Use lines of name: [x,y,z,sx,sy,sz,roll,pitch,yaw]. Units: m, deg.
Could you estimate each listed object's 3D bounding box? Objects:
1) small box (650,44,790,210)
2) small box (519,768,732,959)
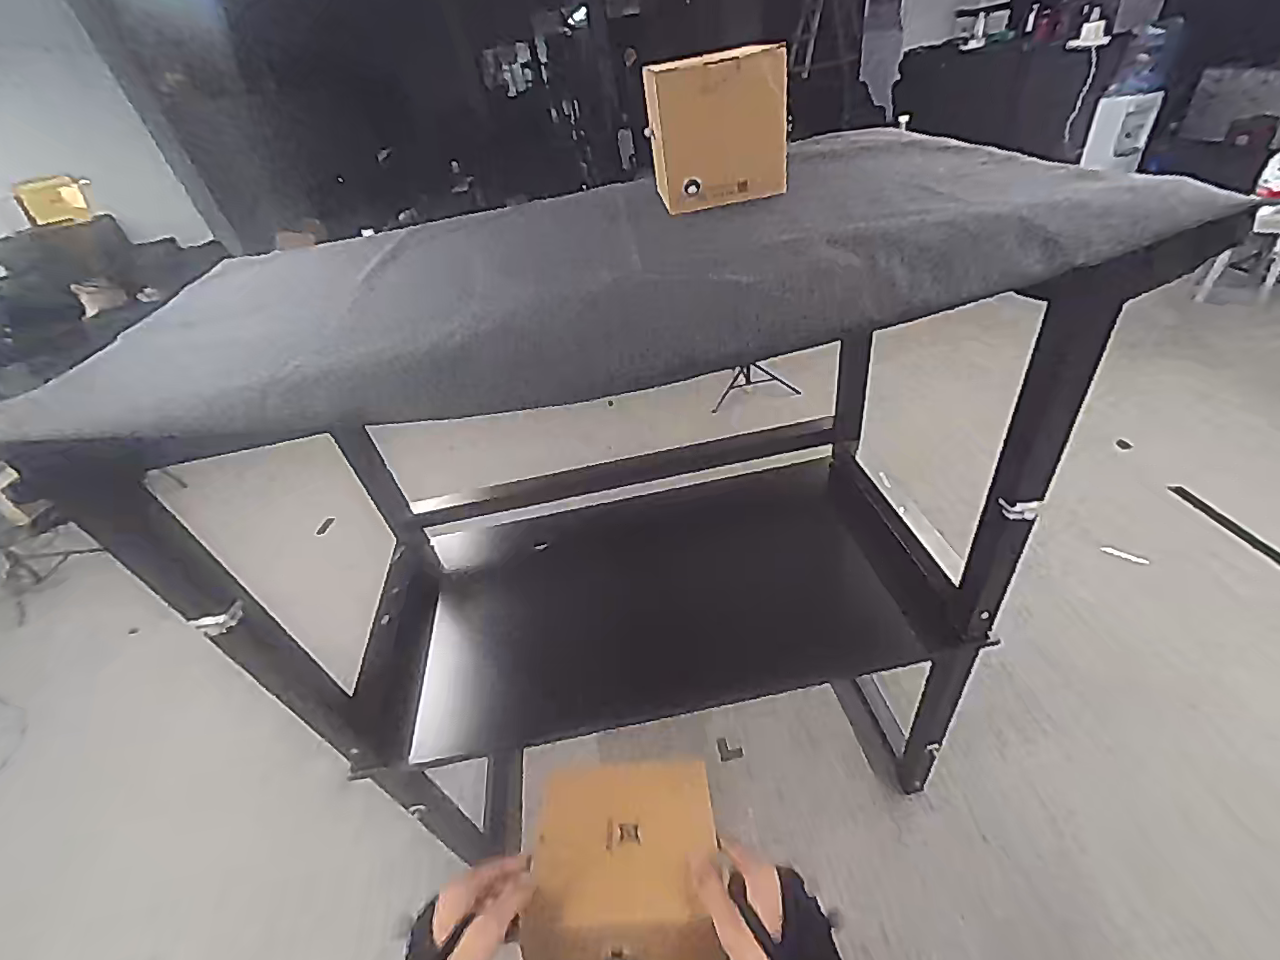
small box: [0.112,-0.500,0.775,0.168,0.176,0.179,-9,38,2]
small box: [-0.007,0.420,0.536,0.179,0.176,0.168,-4,16,1]
